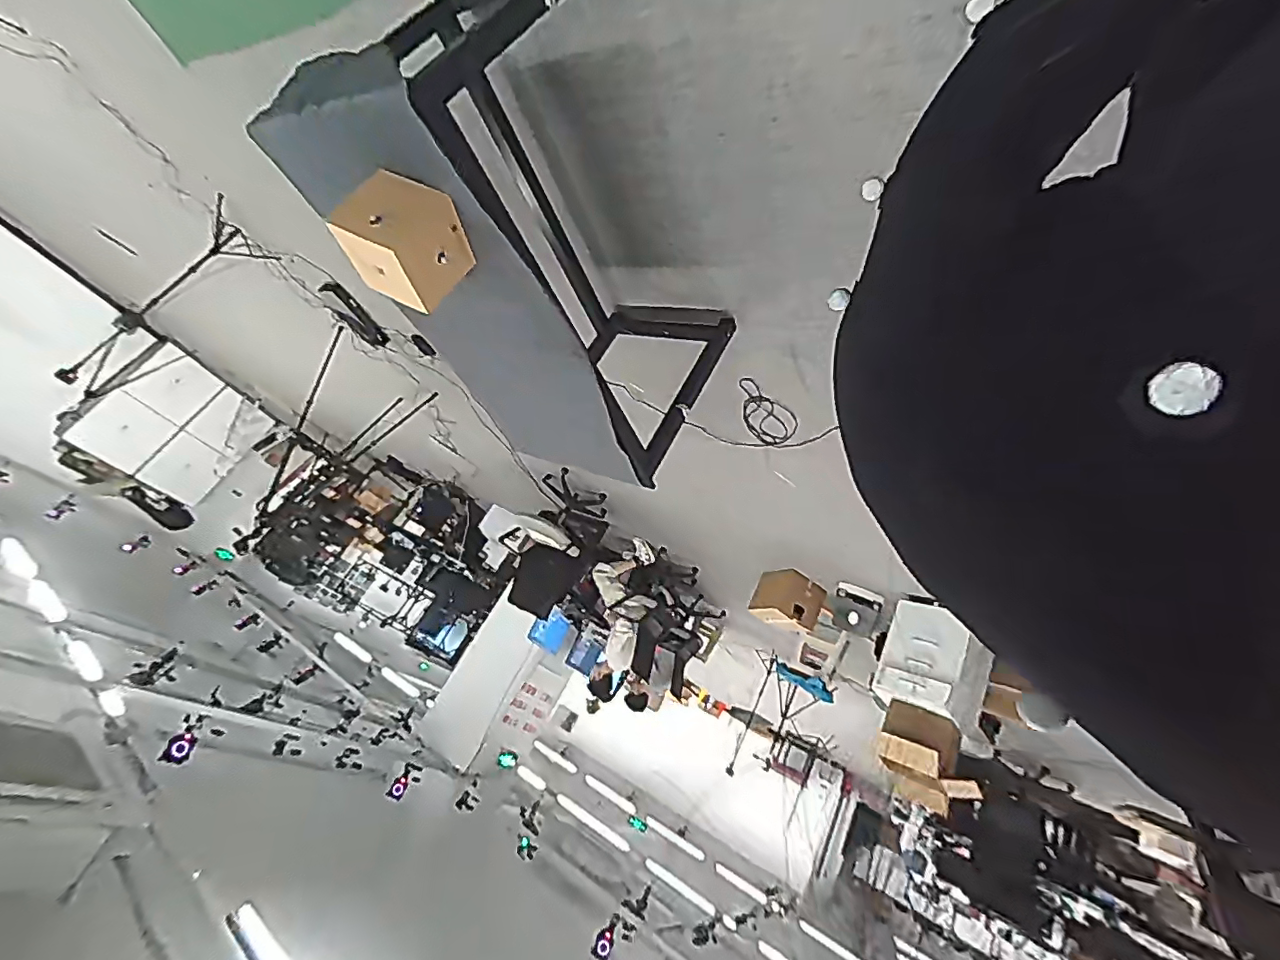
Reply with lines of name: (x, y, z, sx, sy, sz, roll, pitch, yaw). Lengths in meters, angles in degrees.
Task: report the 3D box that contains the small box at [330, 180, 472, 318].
small box: (-0.465, -0.468, 1.091, 0.179, 0.176, 0.168, 27, 158, 15)
